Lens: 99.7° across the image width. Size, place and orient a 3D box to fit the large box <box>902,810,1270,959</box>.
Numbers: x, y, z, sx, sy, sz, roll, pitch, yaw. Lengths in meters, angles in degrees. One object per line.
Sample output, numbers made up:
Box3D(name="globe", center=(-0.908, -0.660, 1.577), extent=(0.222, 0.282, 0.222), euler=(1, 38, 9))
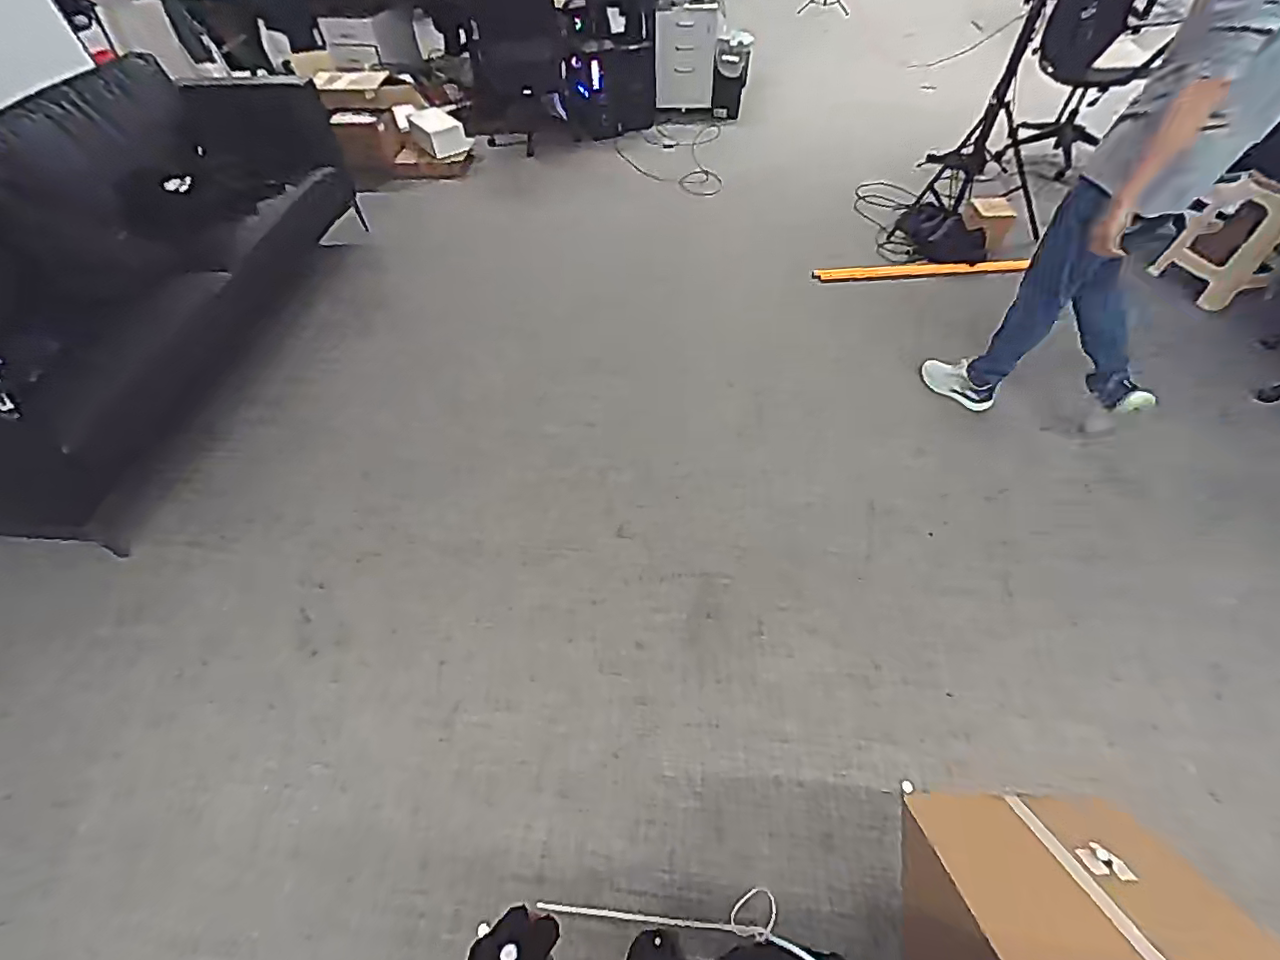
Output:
Box3D(name="large box", center=(0.553, 0.681, 0.650), extent=(0.320, 0.408, 0.320), euler=(0, 93, 5))
